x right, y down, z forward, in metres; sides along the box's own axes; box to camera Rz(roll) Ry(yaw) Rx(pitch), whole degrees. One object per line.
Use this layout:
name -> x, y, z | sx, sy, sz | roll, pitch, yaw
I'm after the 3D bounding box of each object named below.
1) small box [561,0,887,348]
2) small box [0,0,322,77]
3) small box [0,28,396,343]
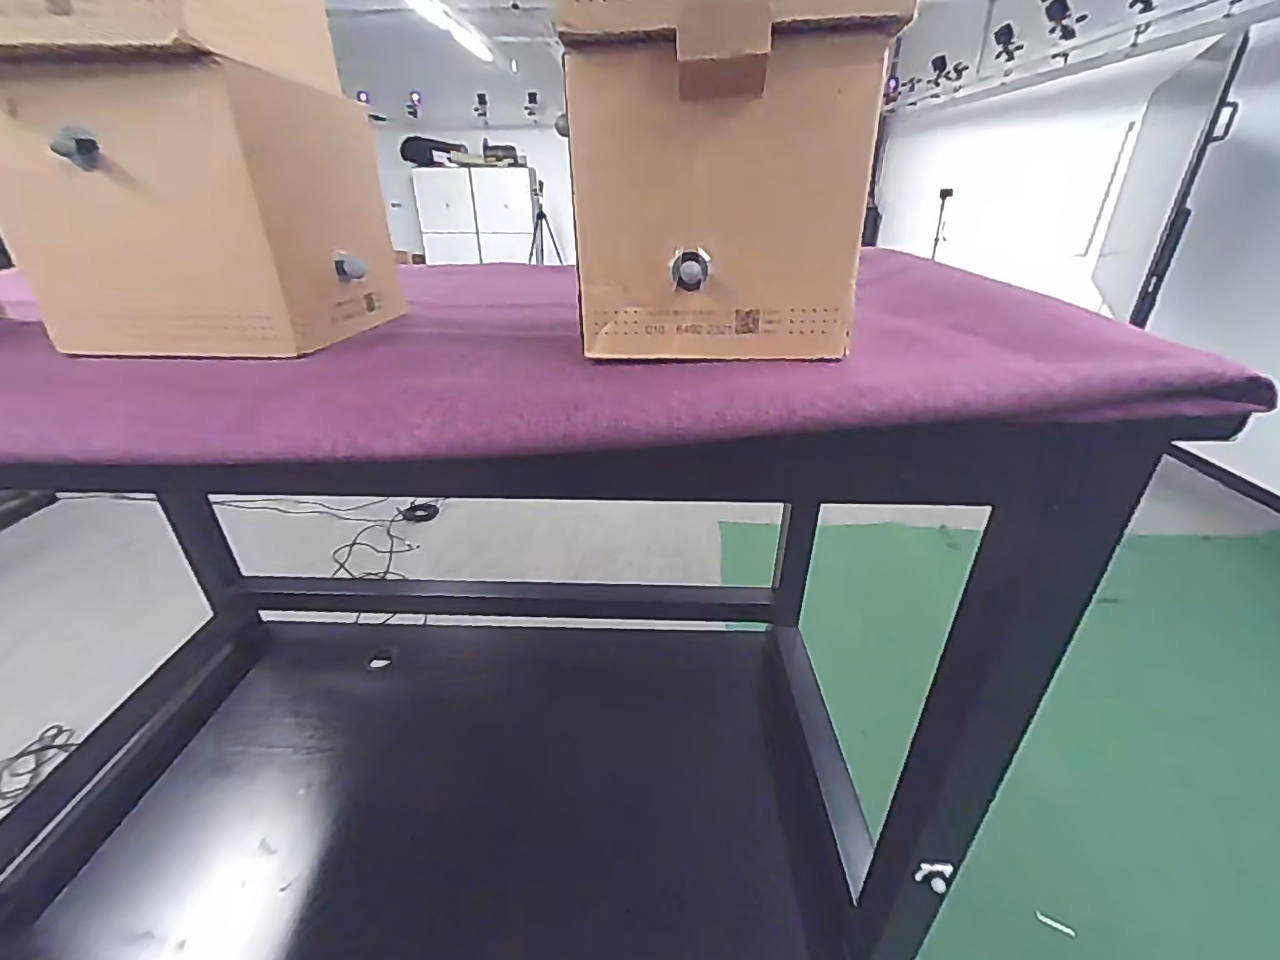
small box -> 0.048, -0.195, 0.377 | 0.168, 0.176, 0.179 | 1, 27, 5
small box -> -0.320, -0.341, 0.313 | 0.168, 0.176, 0.179 | -1, 28, -2
small box -> -0.312, -0.201, 0.398 | 0.179, 0.176, 0.168 | 1, 27, 2
